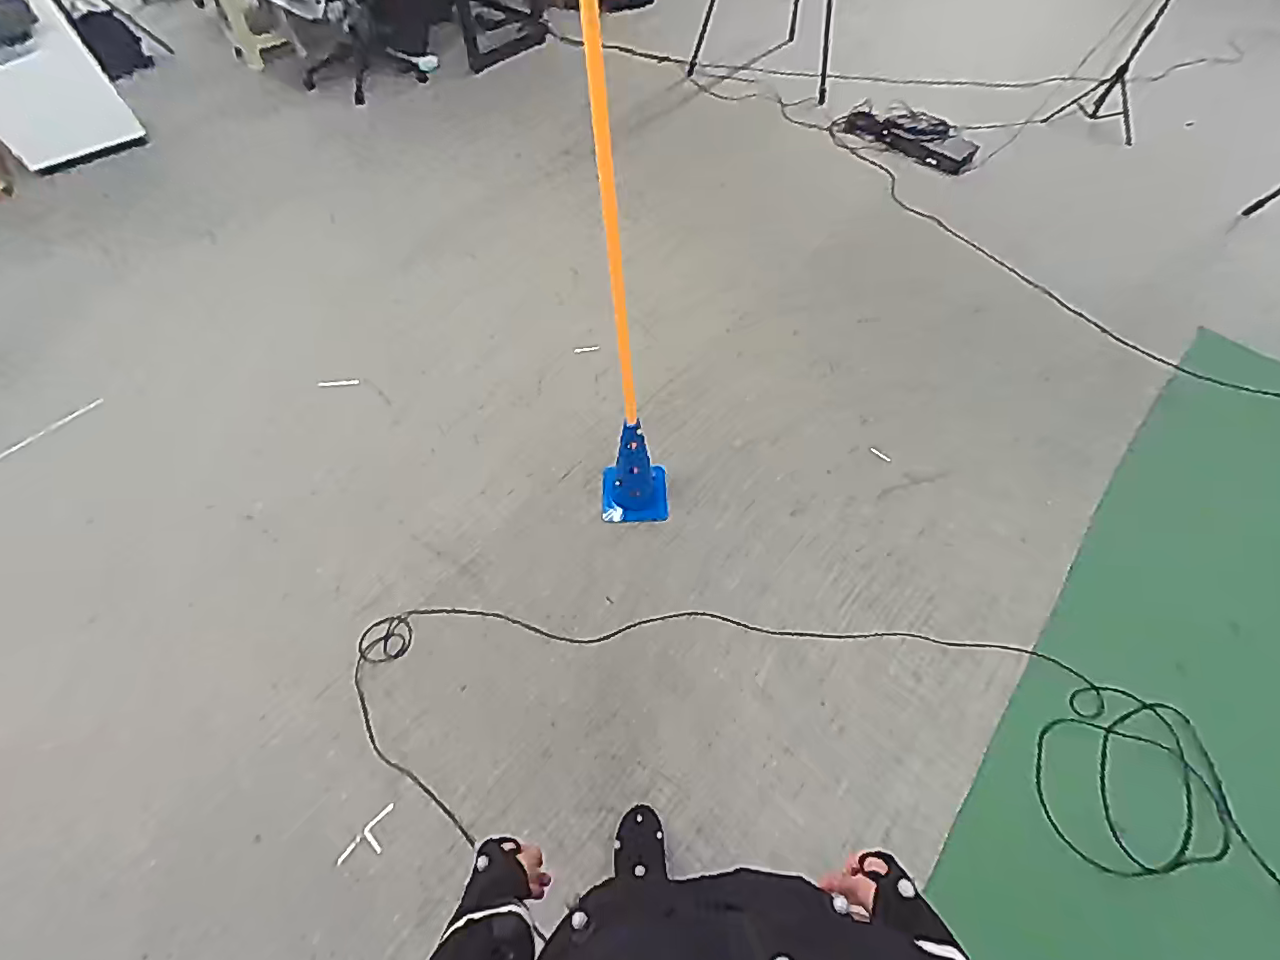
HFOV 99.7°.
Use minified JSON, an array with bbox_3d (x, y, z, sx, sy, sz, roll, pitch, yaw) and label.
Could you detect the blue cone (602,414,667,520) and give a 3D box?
[{"bbox_3d":[-0.021,-0.051,1.517,0.192,0.380,0.193,-3,57,-1],"label":"blue cone"}]
